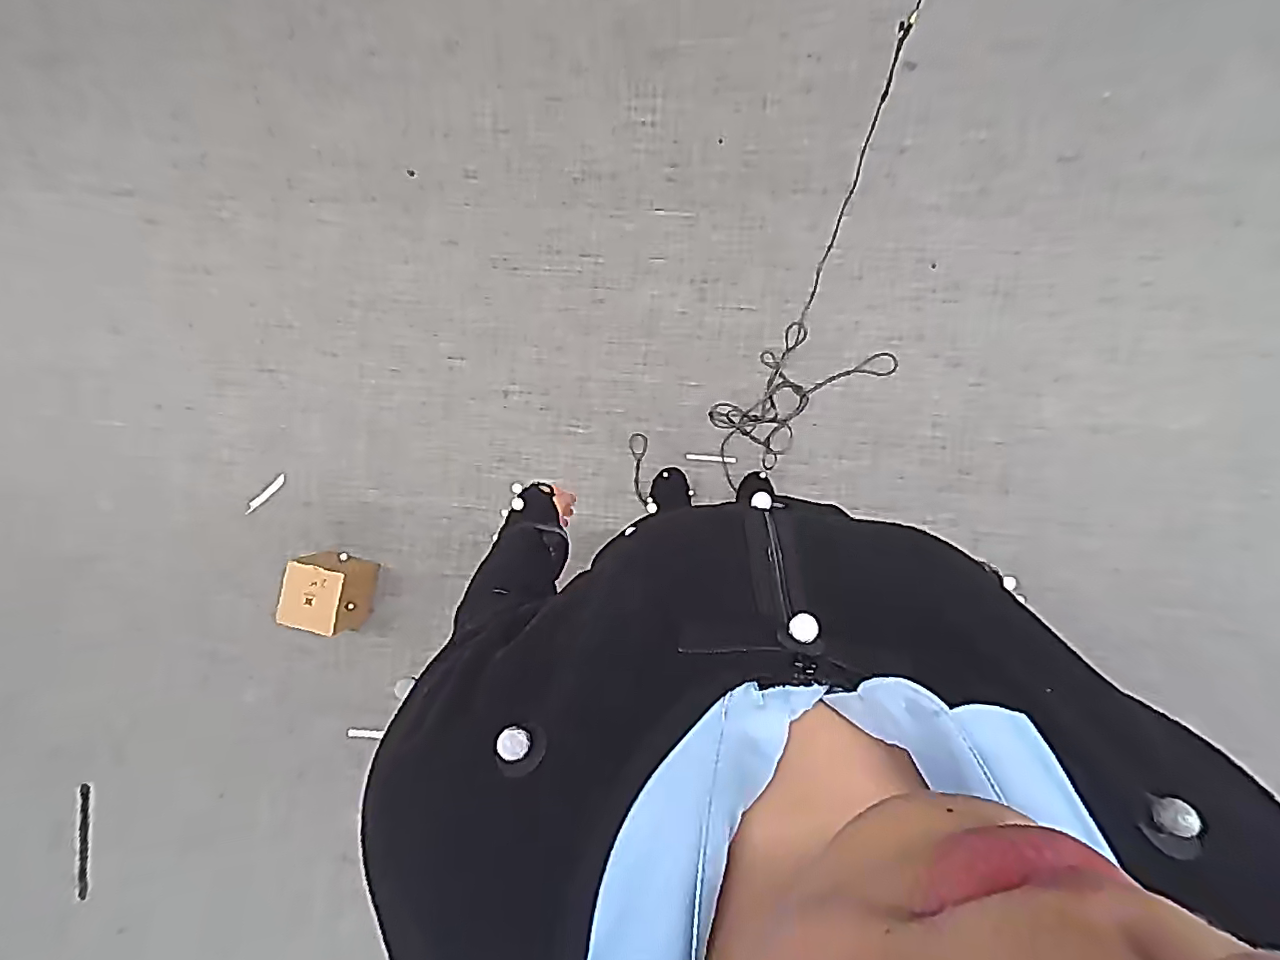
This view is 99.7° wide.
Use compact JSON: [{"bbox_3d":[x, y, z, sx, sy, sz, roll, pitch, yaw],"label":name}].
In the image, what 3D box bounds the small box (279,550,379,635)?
[{"bbox_3d":[-0.866,0.310,1.521,0.168,0.176,0.179,13,92,4],"label":"small box"}]
